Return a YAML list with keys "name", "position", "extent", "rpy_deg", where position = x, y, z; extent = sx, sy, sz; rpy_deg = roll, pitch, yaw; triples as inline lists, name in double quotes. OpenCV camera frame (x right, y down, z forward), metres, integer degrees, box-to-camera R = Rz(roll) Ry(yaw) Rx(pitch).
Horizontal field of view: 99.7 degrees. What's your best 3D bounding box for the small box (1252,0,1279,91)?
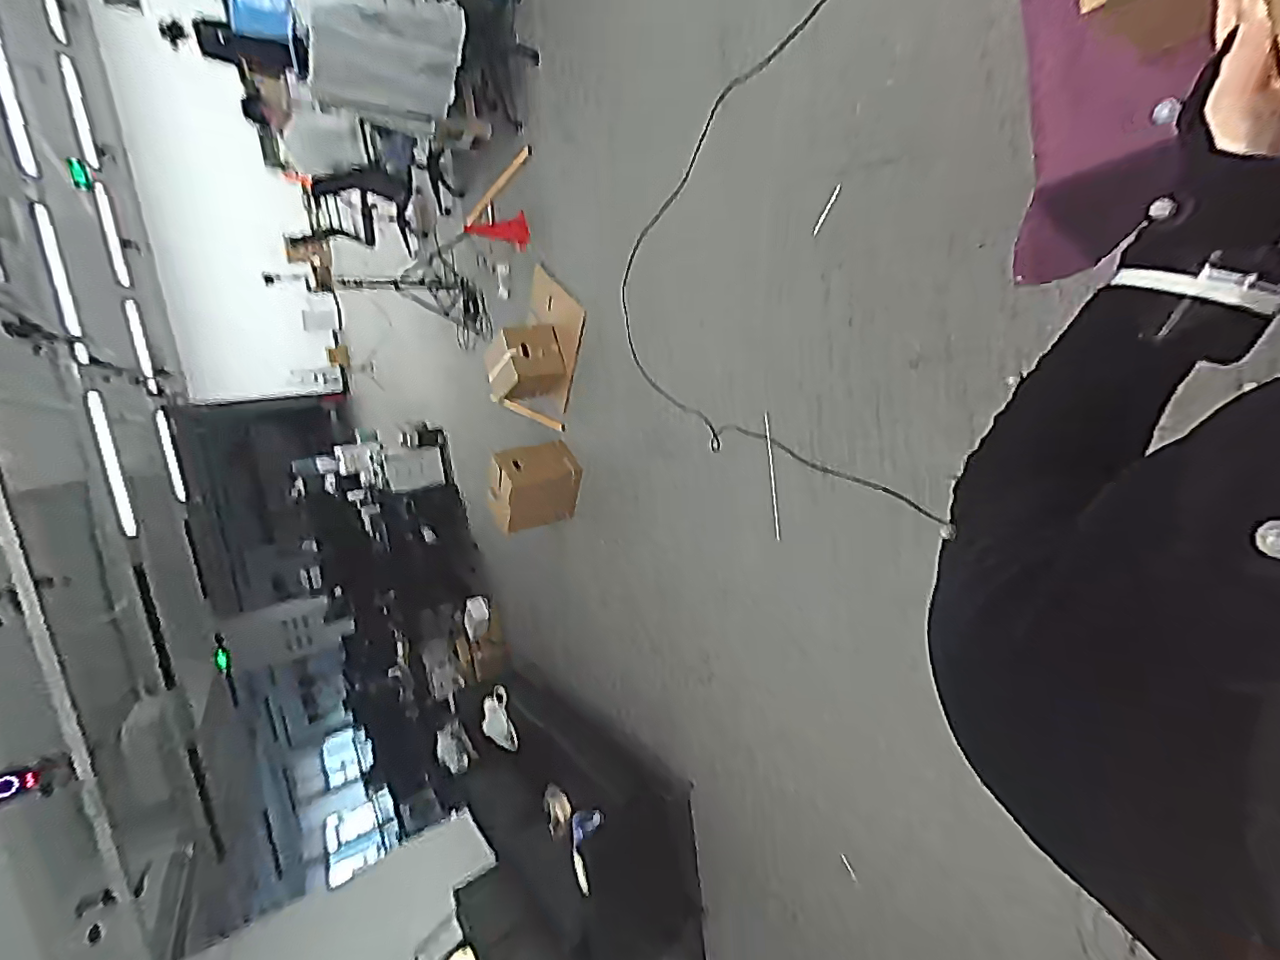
- name: "small box"
  position: [0.366, -0.308, 0.212]
  extent: [0.168, 0.176, 0.179]
  rpy_deg: [43, 150, -25]
